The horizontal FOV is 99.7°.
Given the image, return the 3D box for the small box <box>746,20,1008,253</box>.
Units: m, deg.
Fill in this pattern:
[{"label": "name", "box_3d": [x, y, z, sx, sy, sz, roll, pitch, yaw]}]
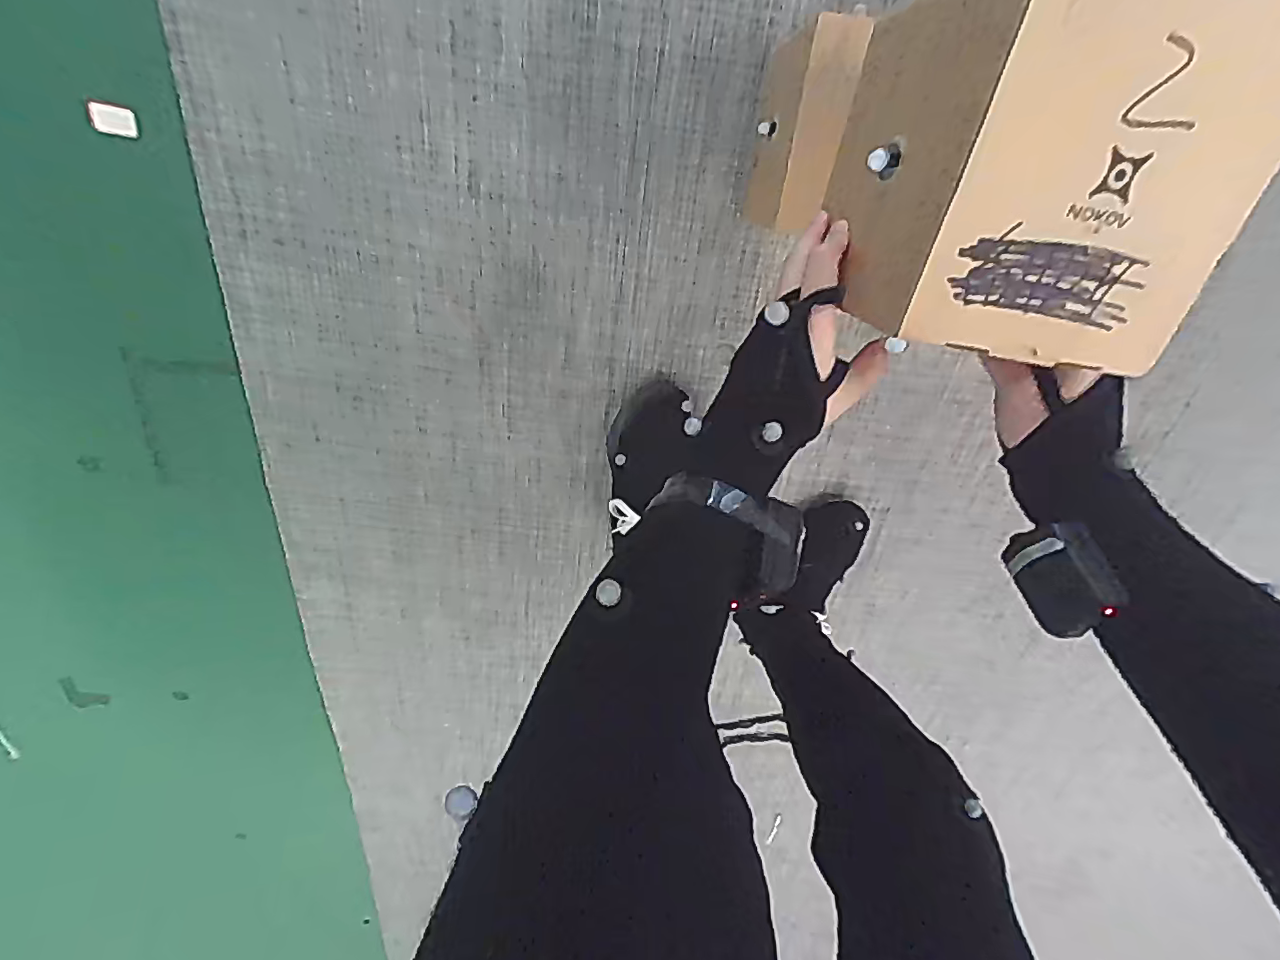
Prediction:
[{"label": "small box", "box_3d": [0.219, -0.341, 0.562, 0.179, 0.176, 0.168, 5, 119, -4]}]
